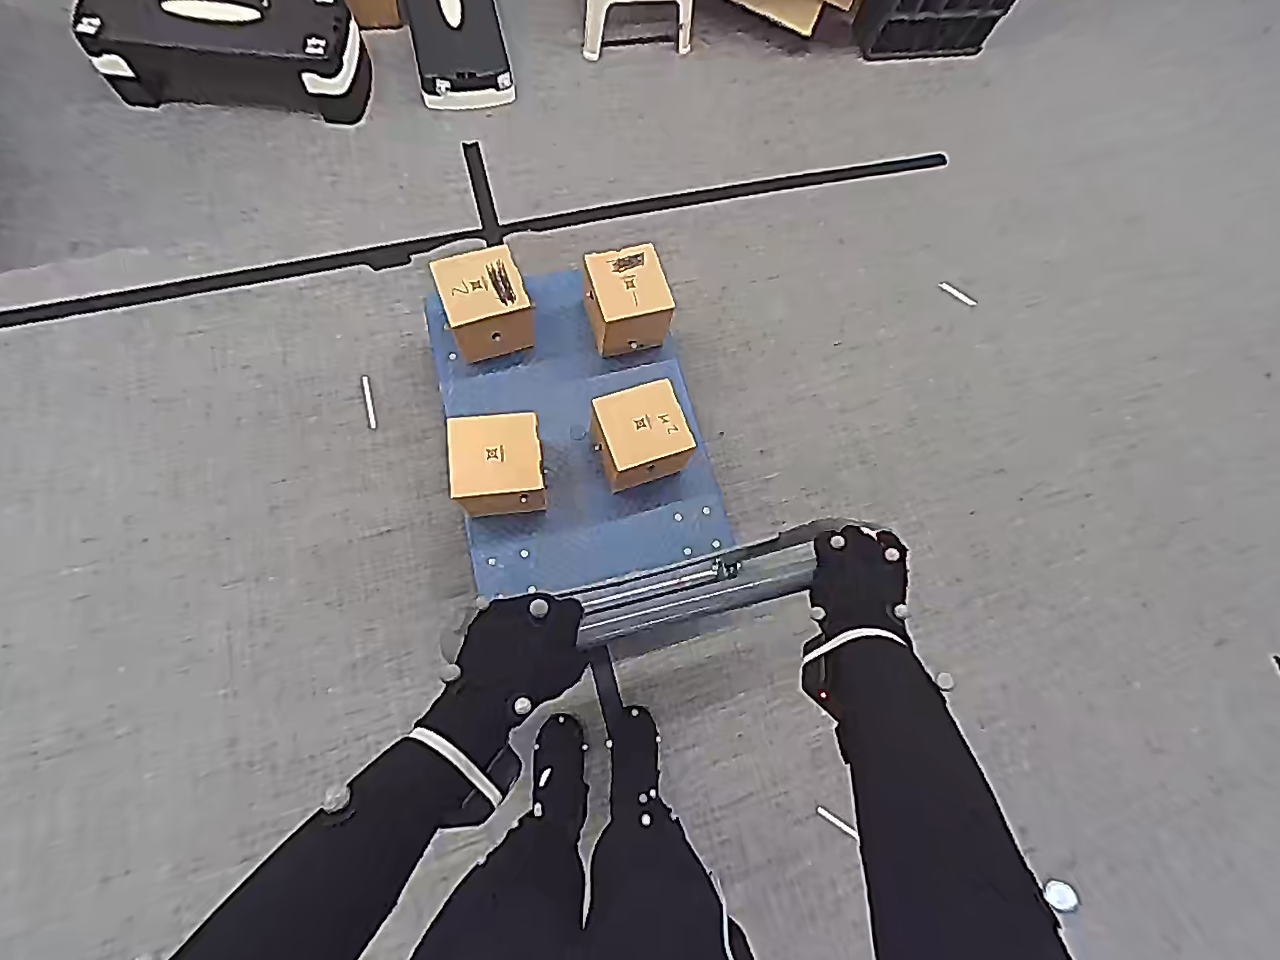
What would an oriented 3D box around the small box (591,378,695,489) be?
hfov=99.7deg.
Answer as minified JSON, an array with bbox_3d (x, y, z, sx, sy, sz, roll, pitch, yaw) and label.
[{"bbox_3d":[-0.001,-0.095,1.181,0.179,0.176,0.168,-18,77,-12],"label":"small box"}]

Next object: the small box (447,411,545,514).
[{"bbox_3d":[-0.294,-0.030,1.126,0.179,0.176,0.168,-6,74,-10],"label":"small box"}]

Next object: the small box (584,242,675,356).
[{"bbox_3d":[-0.033,-0.420,1.271,0.168,0.176,0.179,-15,78,-11],"label":"small box"}]
